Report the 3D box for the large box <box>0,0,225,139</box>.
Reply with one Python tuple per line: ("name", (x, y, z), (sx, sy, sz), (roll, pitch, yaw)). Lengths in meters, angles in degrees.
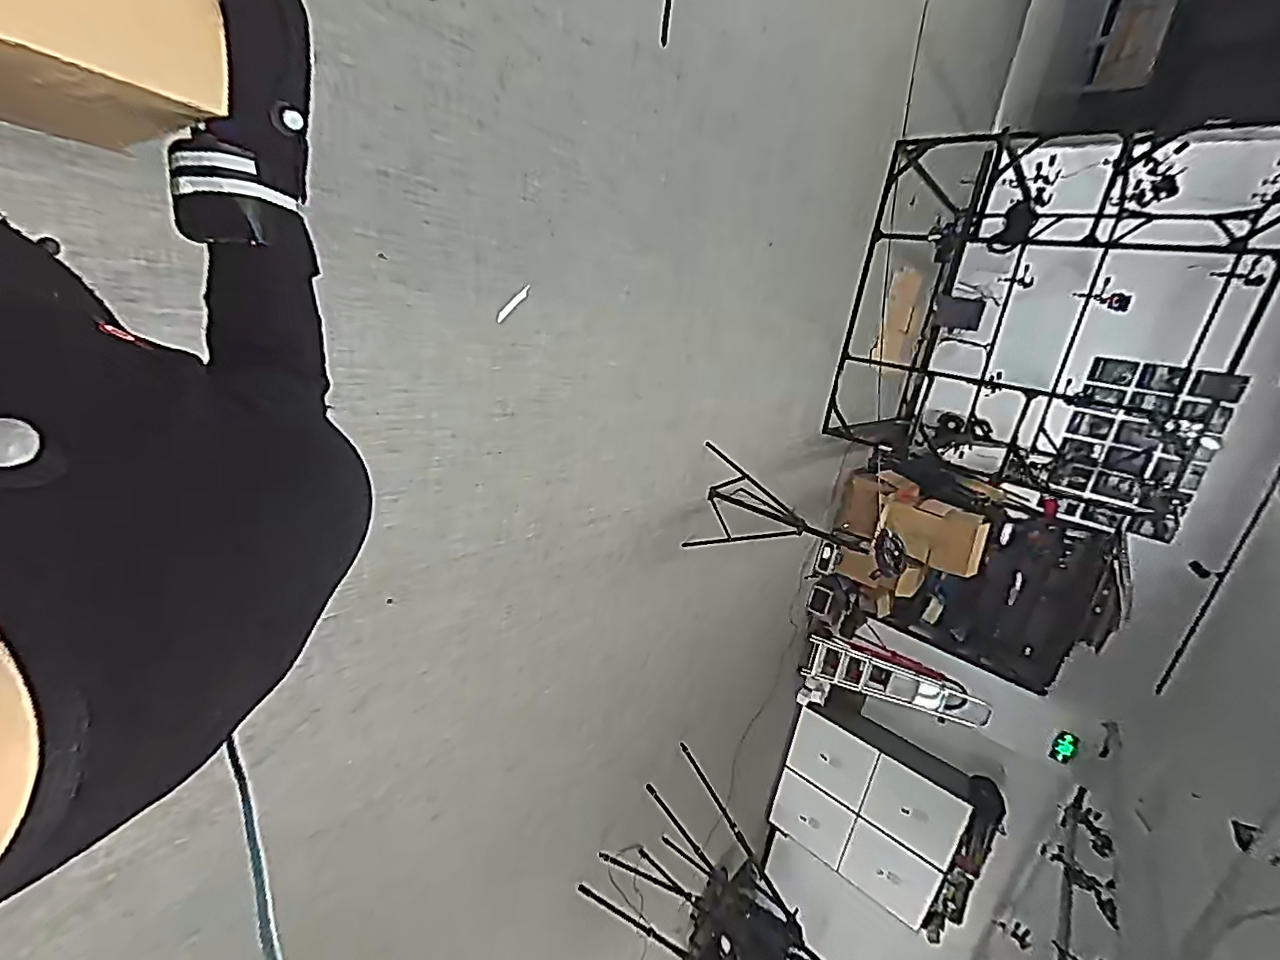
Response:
("large box", (-0.512, -0.429, 0.272), (0.408, 0.320, 0.320), (-10, 113, -53))
